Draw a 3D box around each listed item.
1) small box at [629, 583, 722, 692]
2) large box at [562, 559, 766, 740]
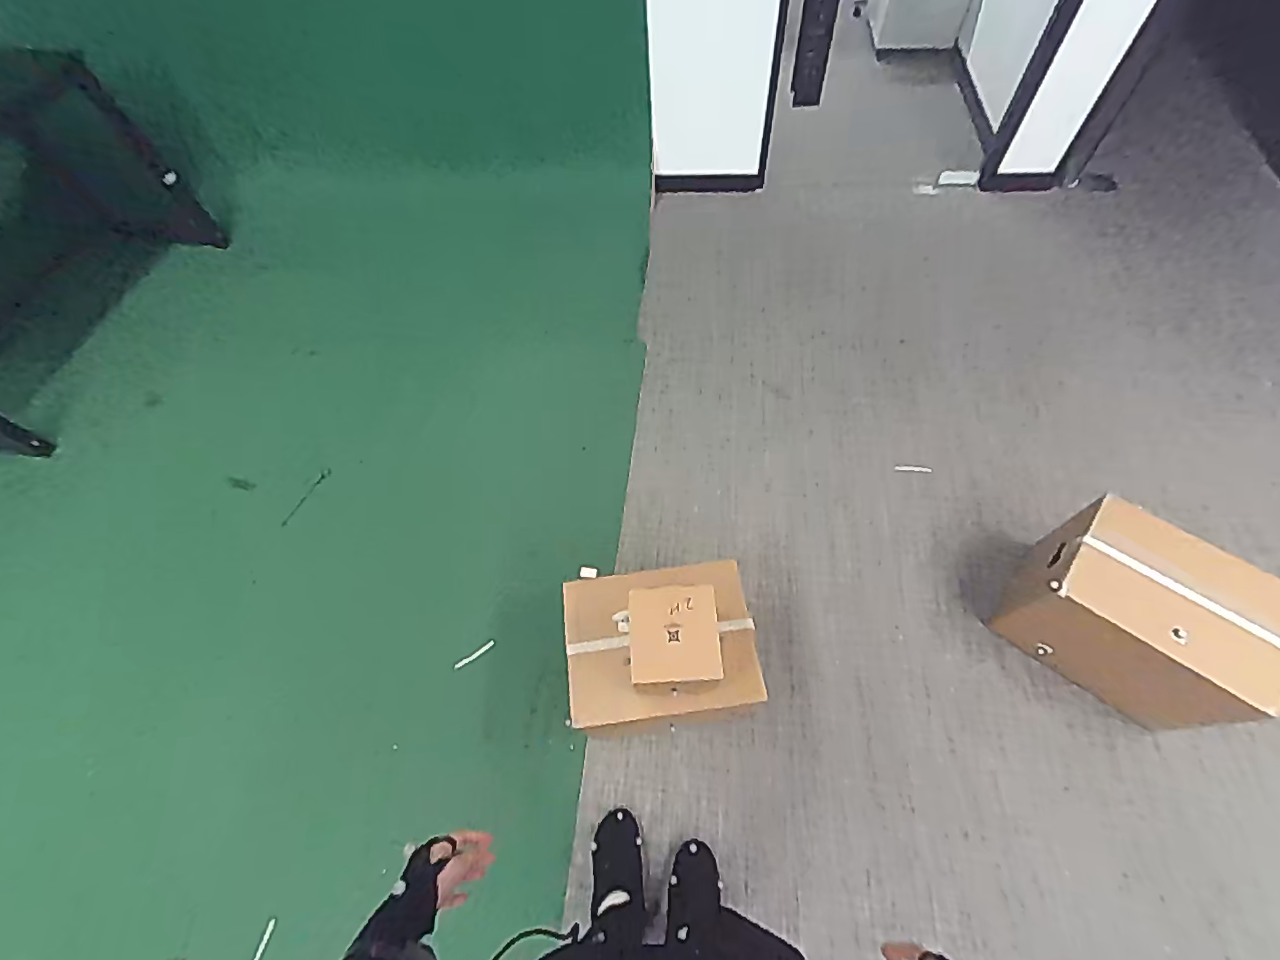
[{"bbox_3d":[0.066,0.313,1.056,0.168,0.176,0.179,-2,60,1],"label":"small box"},{"bbox_3d":[0.051,0.414,1.285,0.408,0.320,0.320,-9,59,0],"label":"large box"}]
